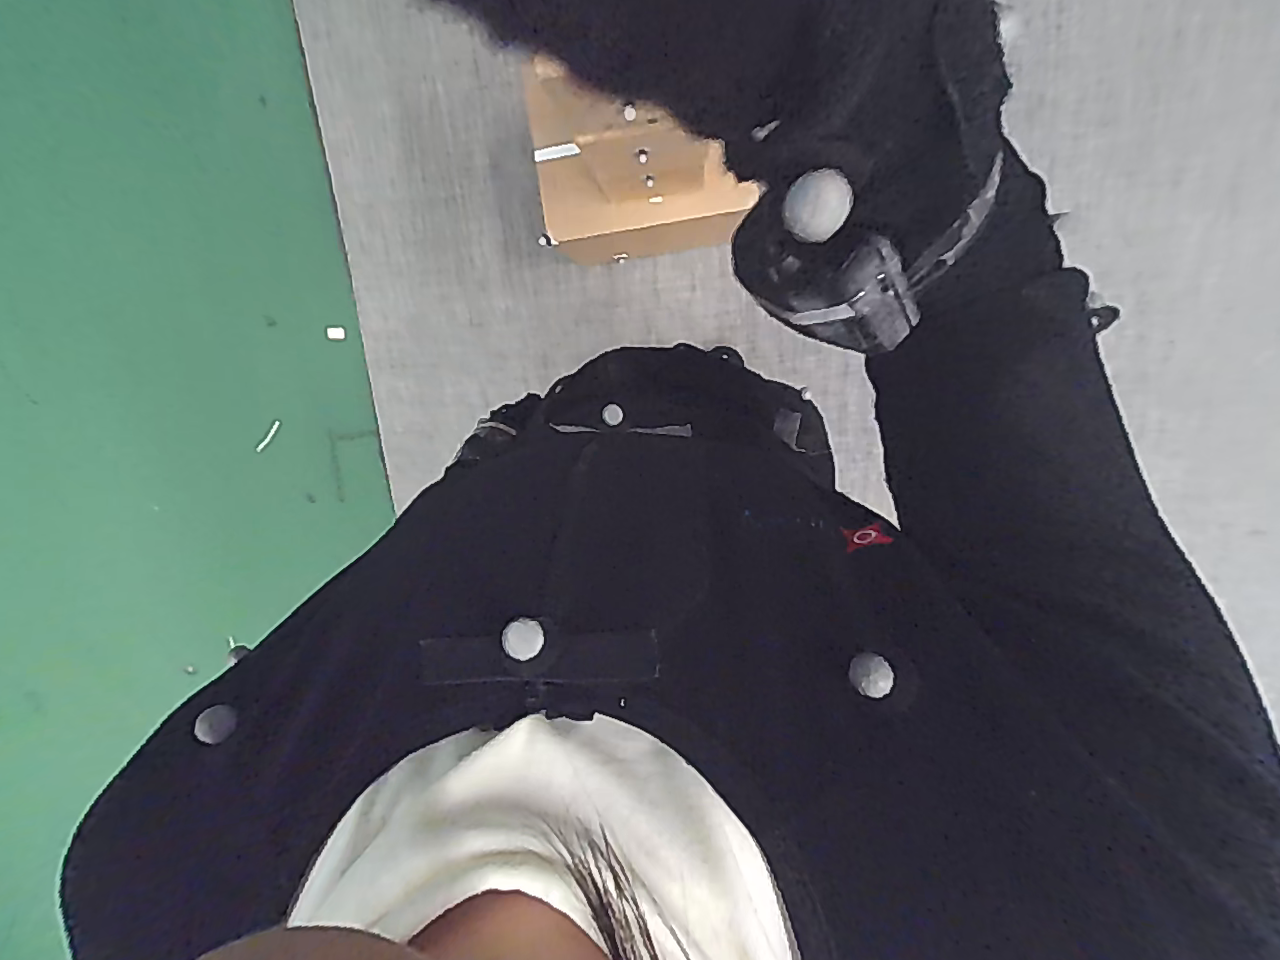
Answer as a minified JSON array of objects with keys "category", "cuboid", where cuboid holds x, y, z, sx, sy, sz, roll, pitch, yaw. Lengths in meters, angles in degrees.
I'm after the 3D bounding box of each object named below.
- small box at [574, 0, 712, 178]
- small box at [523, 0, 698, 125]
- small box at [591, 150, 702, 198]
[{"category":"small box","cuboid":[-0.001,-0.543,0.746,0.179,0.176,0.168,-8,104,8]},{"category":"small box","cuboid":[-0.024,-0.511,0.587,0.168,0.176,0.179,-1,105,8]},{"category":"small box","cuboid":[0.011,-0.588,0.903,0.179,0.176,0.168,-4,104,7]}]
